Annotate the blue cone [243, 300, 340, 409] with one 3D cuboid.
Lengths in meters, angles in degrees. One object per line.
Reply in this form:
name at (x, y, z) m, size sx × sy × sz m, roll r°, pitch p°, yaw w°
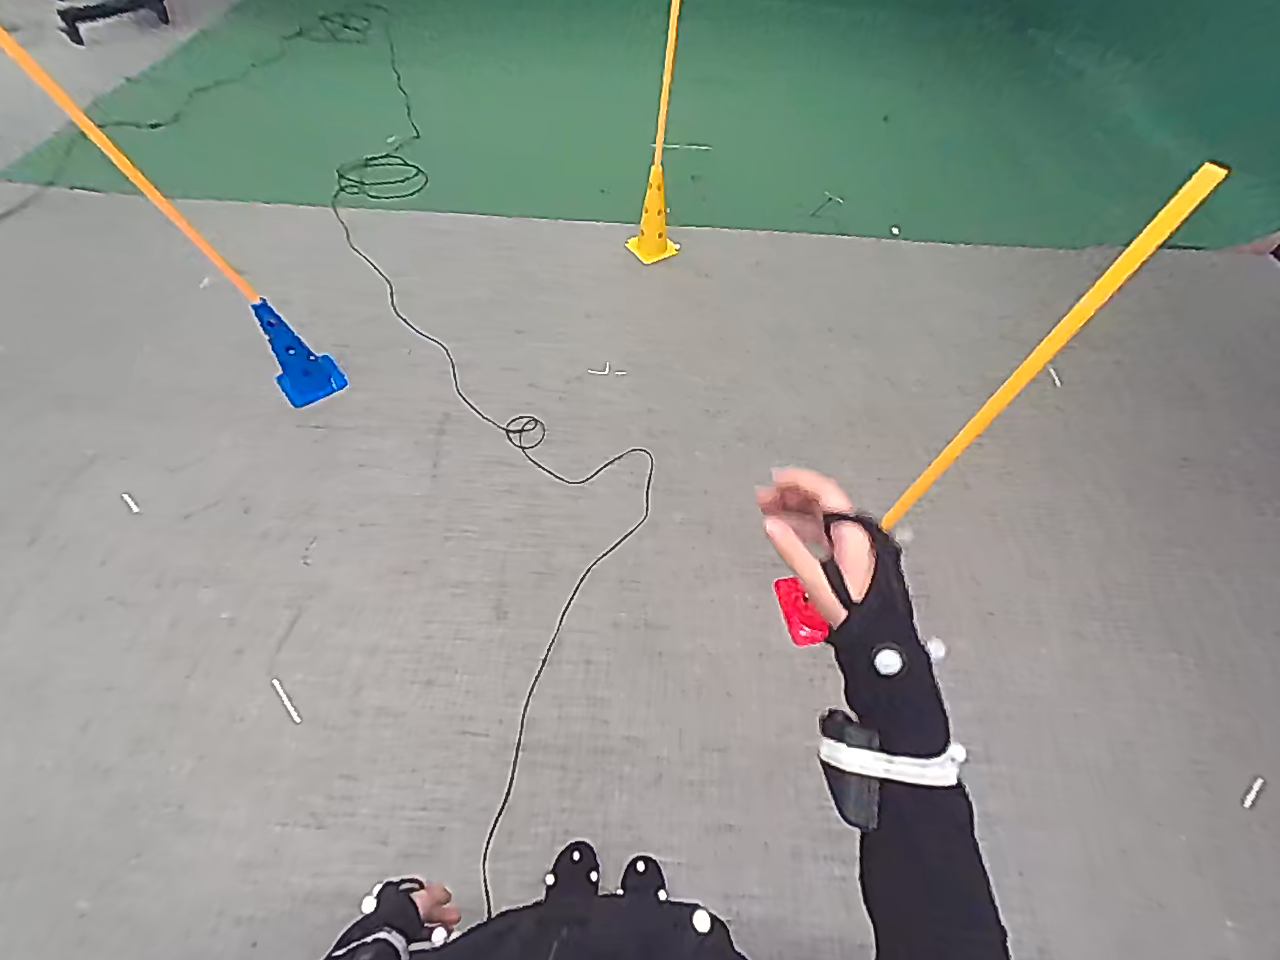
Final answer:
blue cone at (-1.189, -0.432, 1.799) m, size 0.193 × 0.380 × 0.192 m, roll -37°, pitch 65°, yaw -21°
